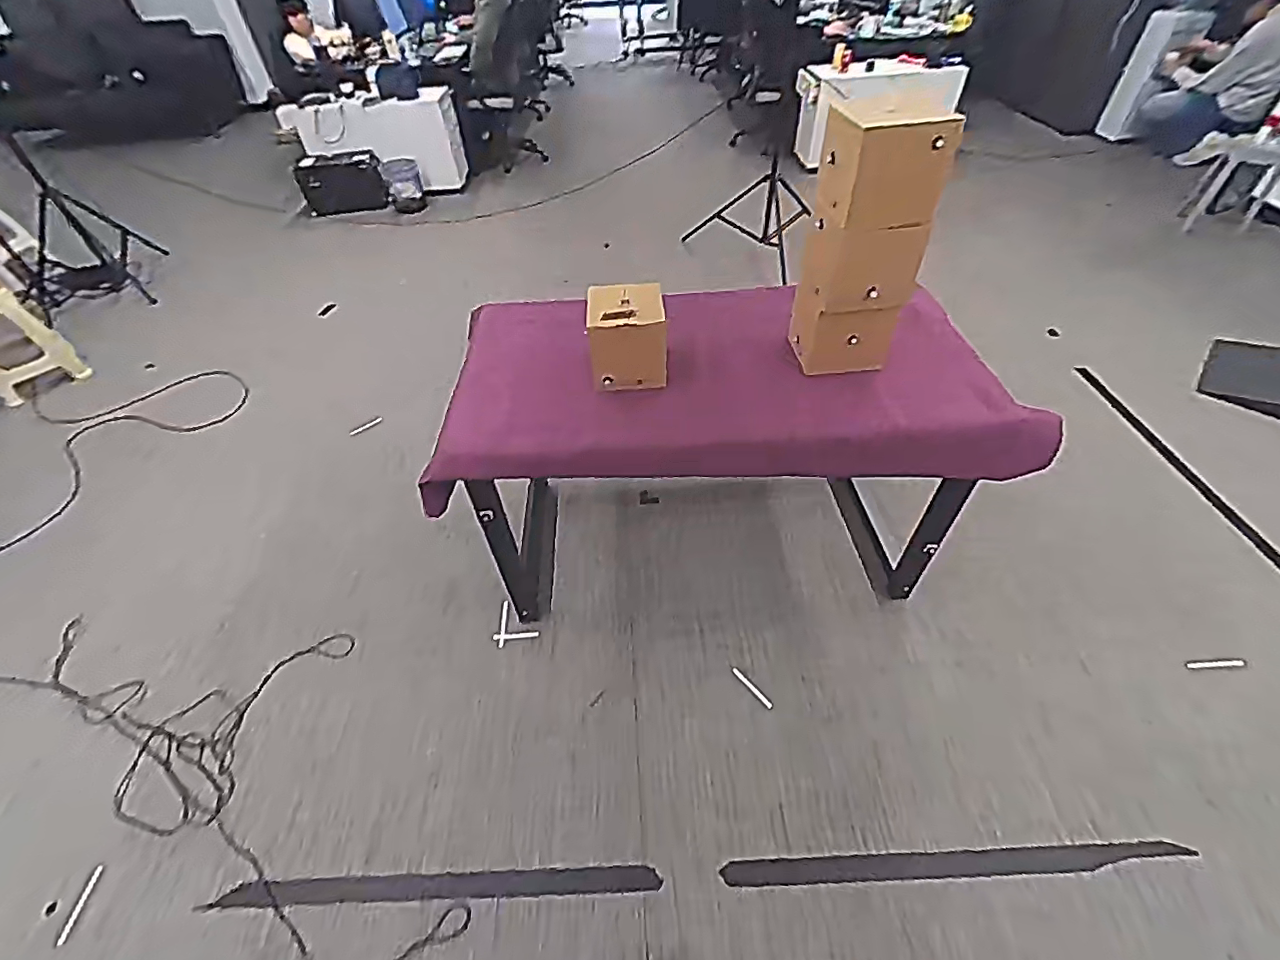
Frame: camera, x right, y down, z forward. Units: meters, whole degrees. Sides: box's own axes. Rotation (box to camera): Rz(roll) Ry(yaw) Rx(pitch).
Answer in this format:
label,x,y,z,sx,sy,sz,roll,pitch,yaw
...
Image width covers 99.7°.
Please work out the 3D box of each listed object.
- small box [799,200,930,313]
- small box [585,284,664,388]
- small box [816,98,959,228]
label,x,y,z,sx,sy,sz,roll,pitch,yaw
small box,0.447,-0.462,1.109,0.179,0.176,0.168,-7,46,-4
small box,-0.032,-0.322,1.230,0.168,0.176,0.179,-3,46,-1
small box,0.438,-0.579,0.996,0.179,0.176,0.168,-7,47,-3
